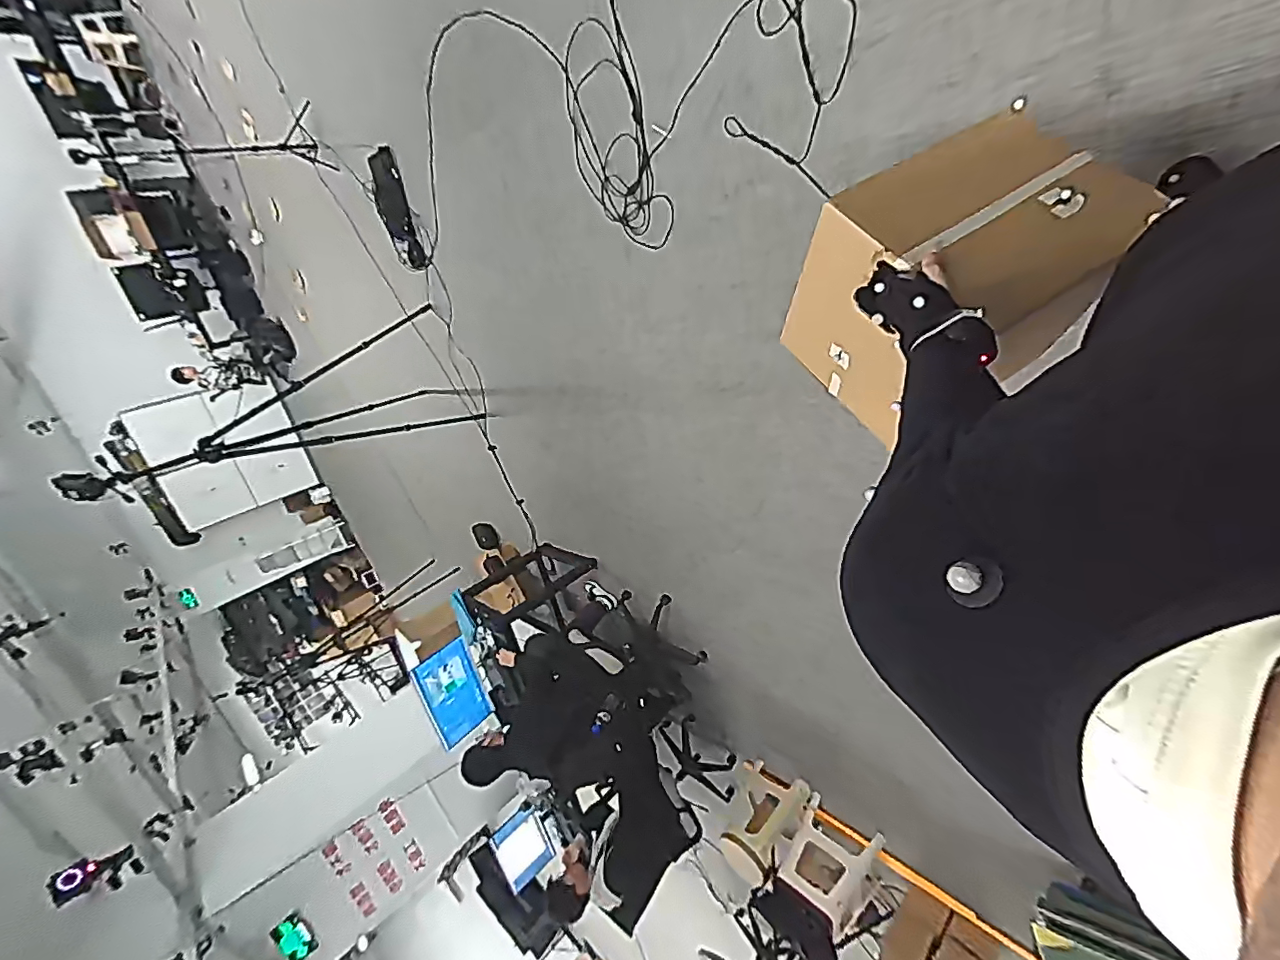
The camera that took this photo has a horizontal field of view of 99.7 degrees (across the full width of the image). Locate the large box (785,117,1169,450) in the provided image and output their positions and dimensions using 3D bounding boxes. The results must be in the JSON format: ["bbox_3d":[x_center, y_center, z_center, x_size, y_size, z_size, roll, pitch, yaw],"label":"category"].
[{"bbox_3d":[0.522,-0.324,0.920,0.320,0.408,0.320,53,164,22],"label":"large box"}]
